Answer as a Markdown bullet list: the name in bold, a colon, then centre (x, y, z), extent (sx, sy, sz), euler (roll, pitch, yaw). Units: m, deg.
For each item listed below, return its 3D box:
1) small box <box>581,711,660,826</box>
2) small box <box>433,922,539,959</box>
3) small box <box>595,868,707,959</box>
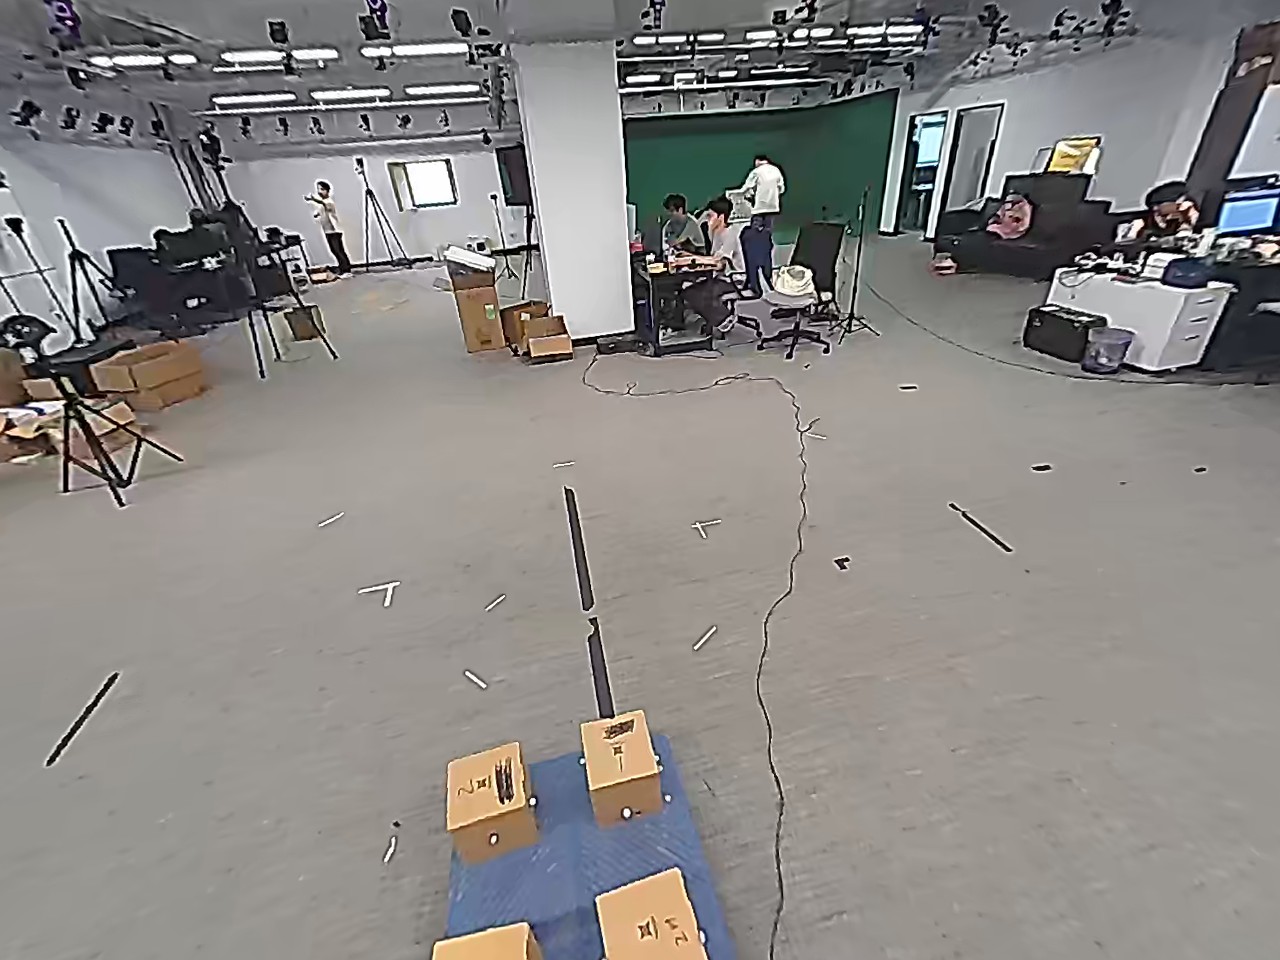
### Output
- **small box**: centre (-0.050, 0.719, 1.353), extent (0.168, 0.176, 0.179), euler (-10, 32, -9)
- **small box**: centre (-0.277, 0.955, 0.981), extent (0.179, 0.176, 0.168), euler (-7, 30, -8)
- **small box**: centre (0.023, 0.898, 1.035), extent (0.179, 0.176, 0.168), euler (-12, 31, -11)
